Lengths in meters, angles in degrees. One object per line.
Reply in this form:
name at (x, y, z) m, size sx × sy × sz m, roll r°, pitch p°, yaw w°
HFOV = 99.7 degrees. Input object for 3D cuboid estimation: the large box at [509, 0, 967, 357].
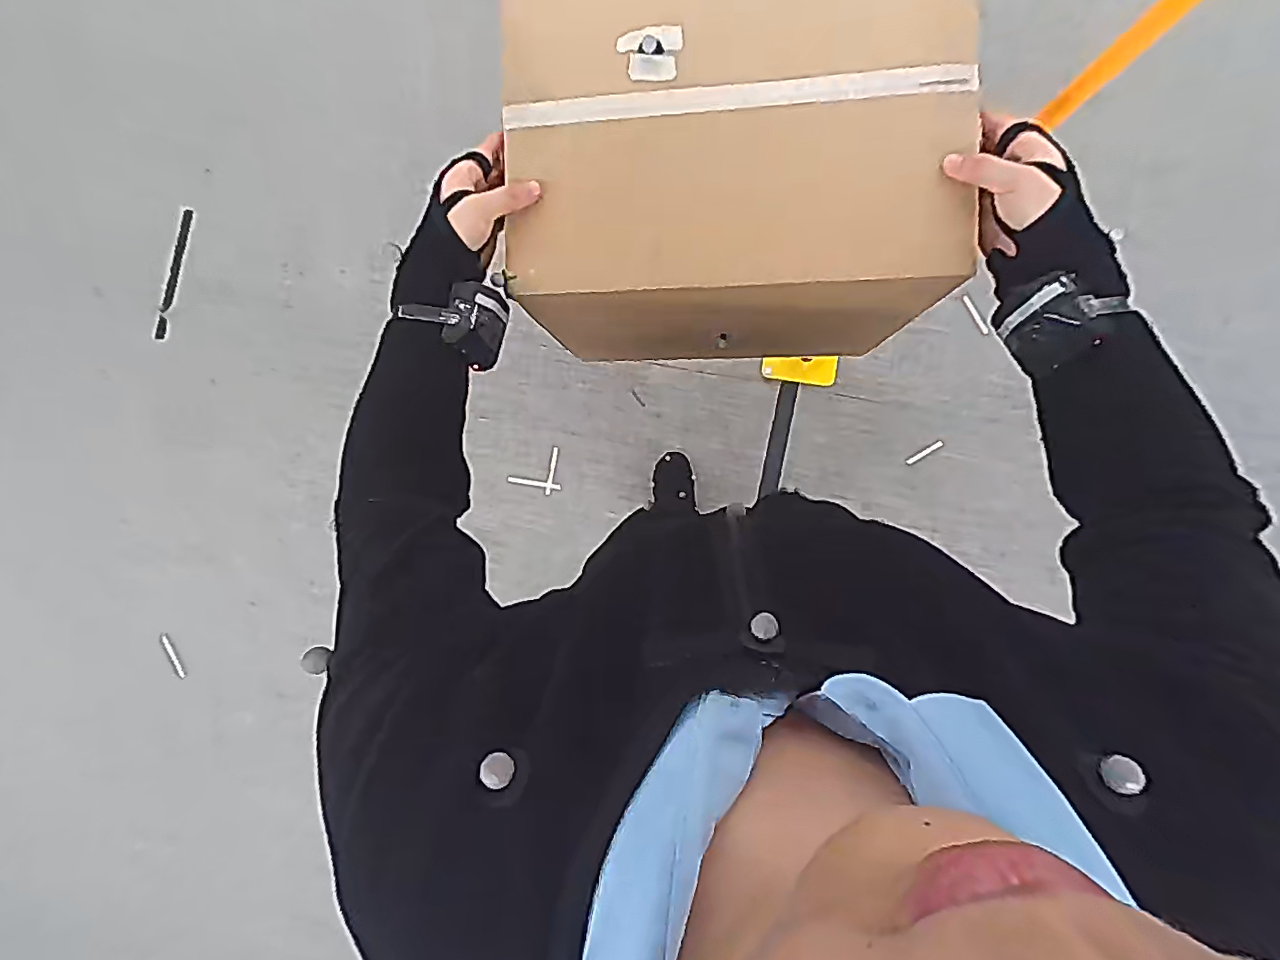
large box at (0.098, -0.332, 0.629) m, size 0.408 × 0.320 × 0.320 m, roll -1°, pitch 90°, yaw 7°
